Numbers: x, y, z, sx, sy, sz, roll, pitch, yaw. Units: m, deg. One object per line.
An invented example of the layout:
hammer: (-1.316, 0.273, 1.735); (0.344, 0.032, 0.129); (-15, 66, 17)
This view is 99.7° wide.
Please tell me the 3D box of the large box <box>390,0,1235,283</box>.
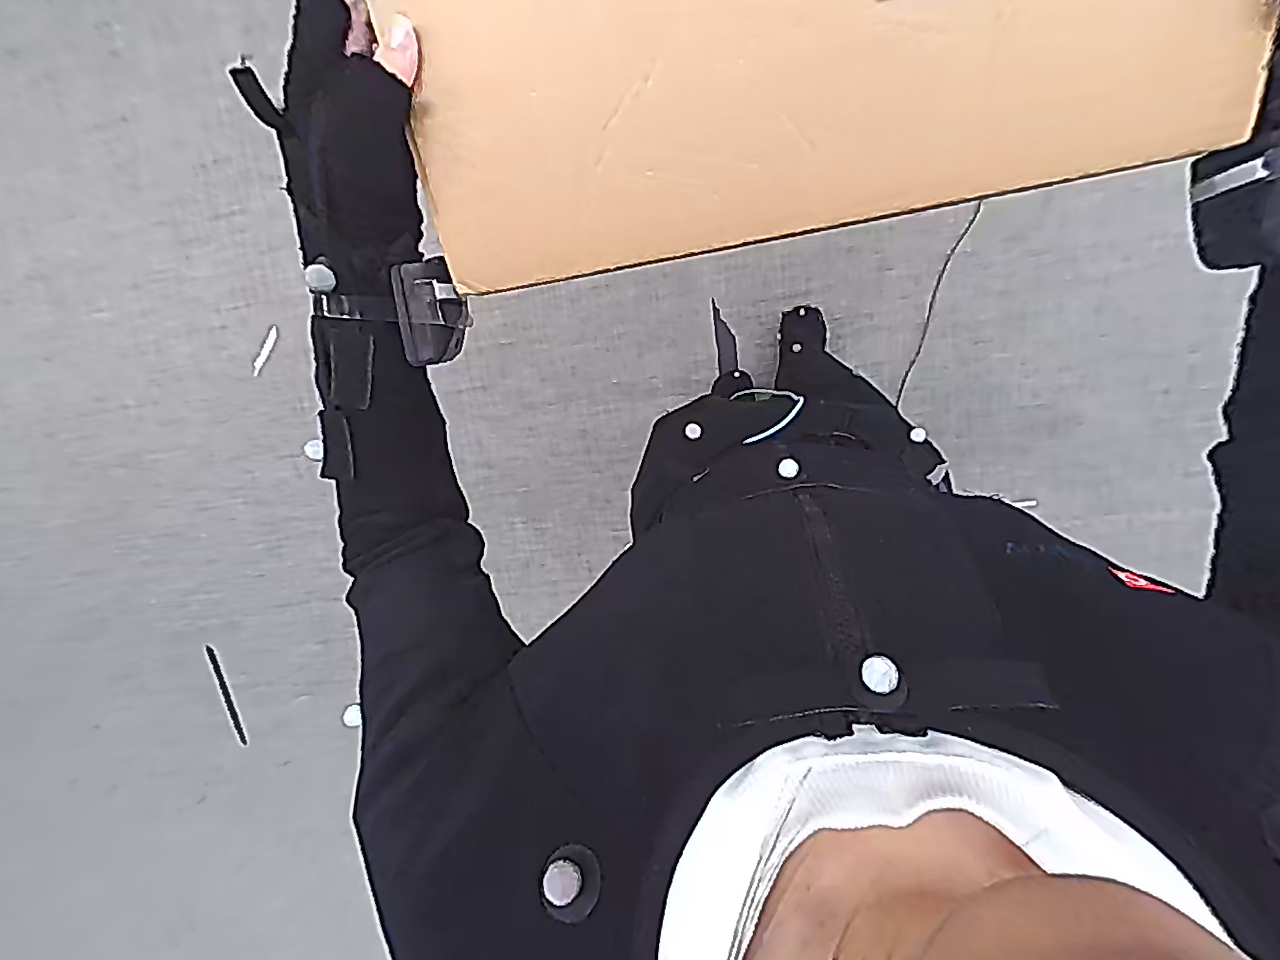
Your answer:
large box: (0.075, -0.347, 0.380); (0.408, 0.320, 0.320); (-8, 113, 10)
